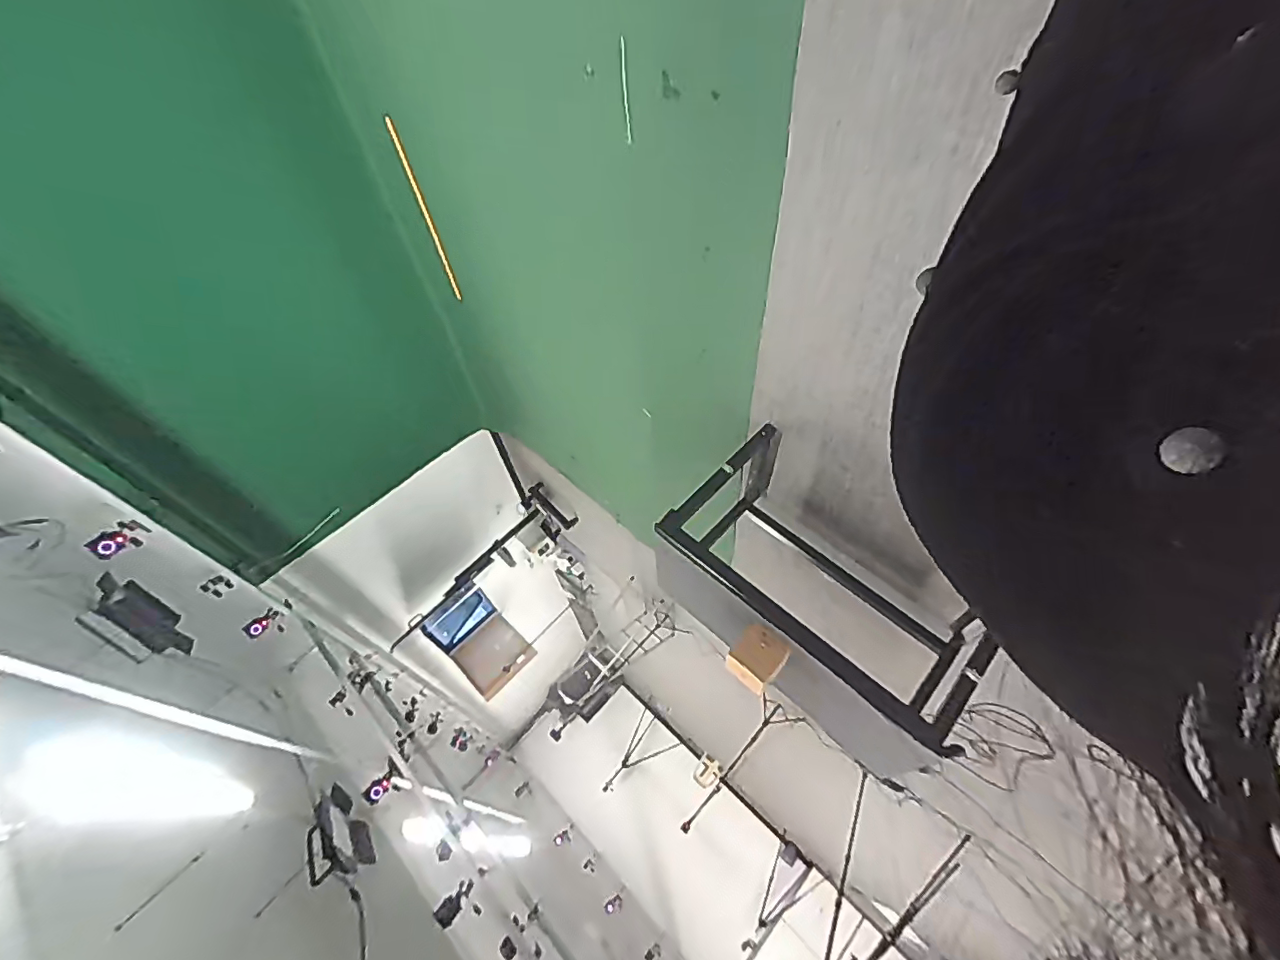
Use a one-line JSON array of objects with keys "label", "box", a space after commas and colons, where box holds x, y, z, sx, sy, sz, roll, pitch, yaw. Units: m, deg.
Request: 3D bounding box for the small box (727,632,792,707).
[{"label": "small box", "box": [0.439, 0.696, 1.992, 0.168, 0.176, 0.179, 35, 154, 28]}]
